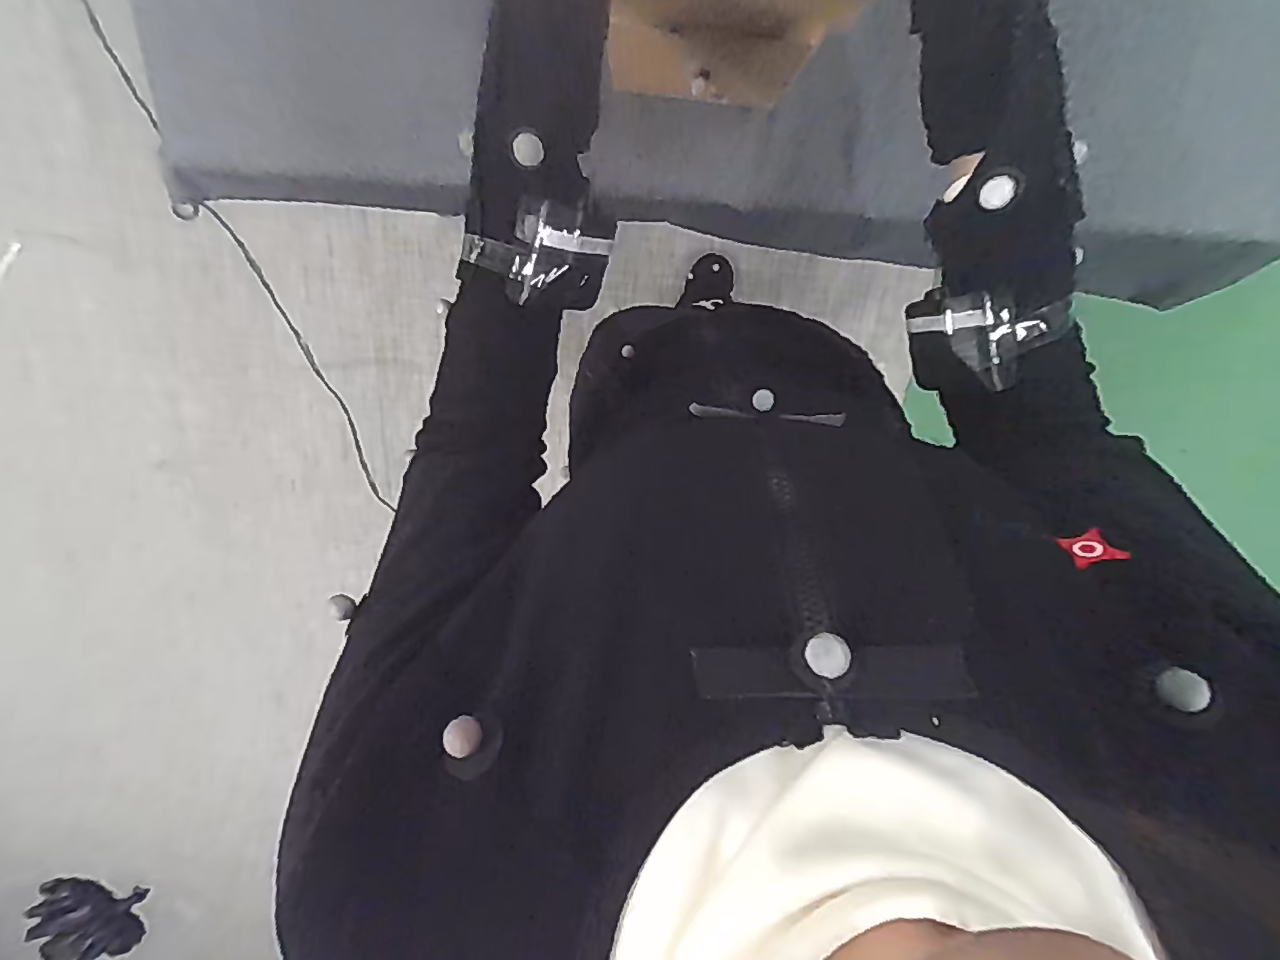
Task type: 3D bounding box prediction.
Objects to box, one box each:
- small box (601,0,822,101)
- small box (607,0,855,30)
[{"bbox_3d":[0.063,-0.436,0.443,0.168,0.176,0.179,5,111,1],"label":"small box"},{"bbox_3d":[0.062,-0.370,0.285,0.179,0.176,0.168,3,112,3],"label":"small box"}]
